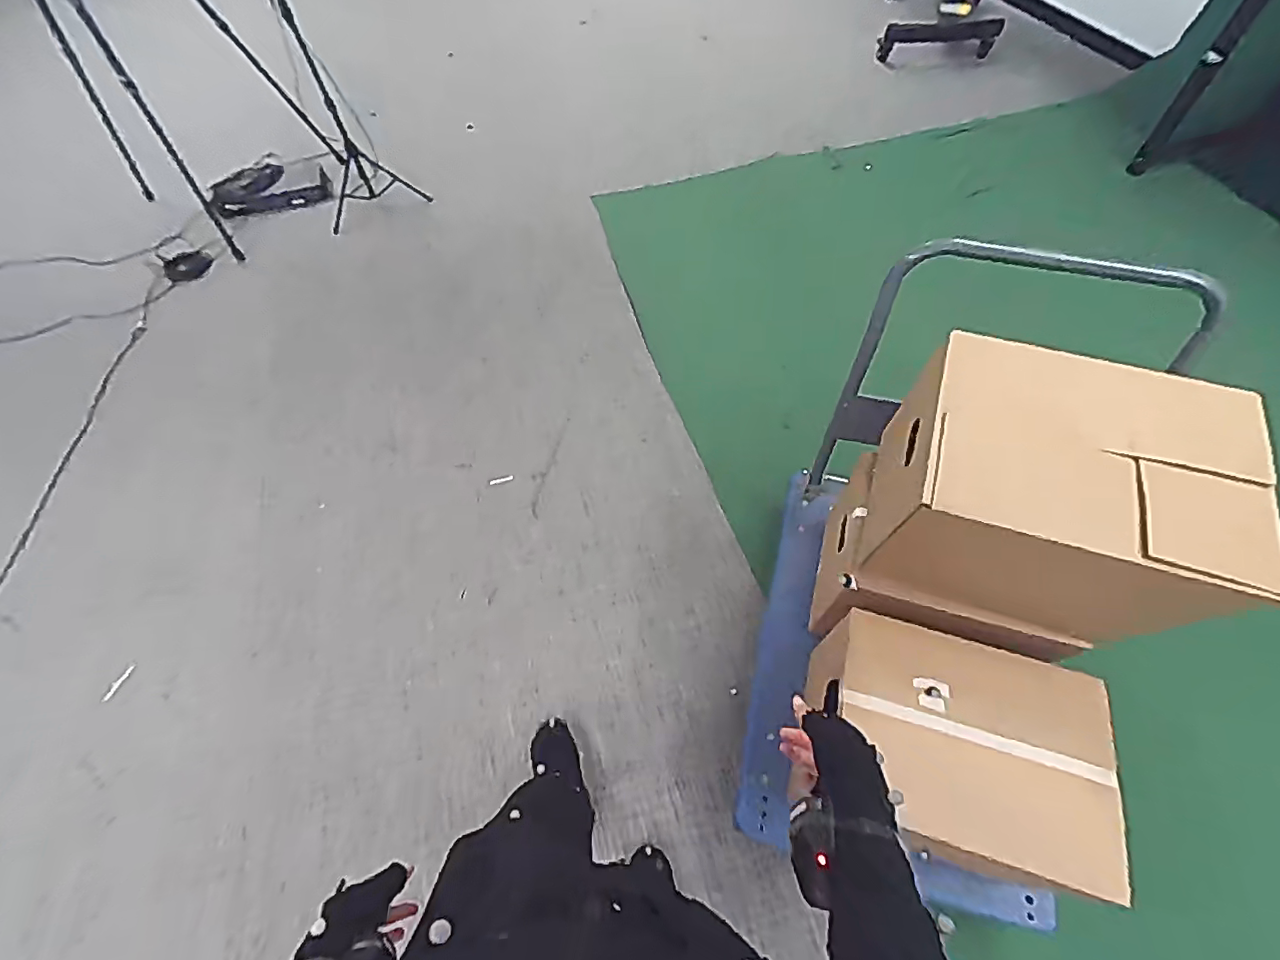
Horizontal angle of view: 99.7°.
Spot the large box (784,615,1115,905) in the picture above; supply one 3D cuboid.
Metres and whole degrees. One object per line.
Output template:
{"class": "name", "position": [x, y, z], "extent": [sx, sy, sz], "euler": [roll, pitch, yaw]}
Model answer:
{"class": "large box", "position": [0.506, 0.481, 0.963], "extent": [0.408, 0.320, 0.320], "euler": [14, 59, 12]}
